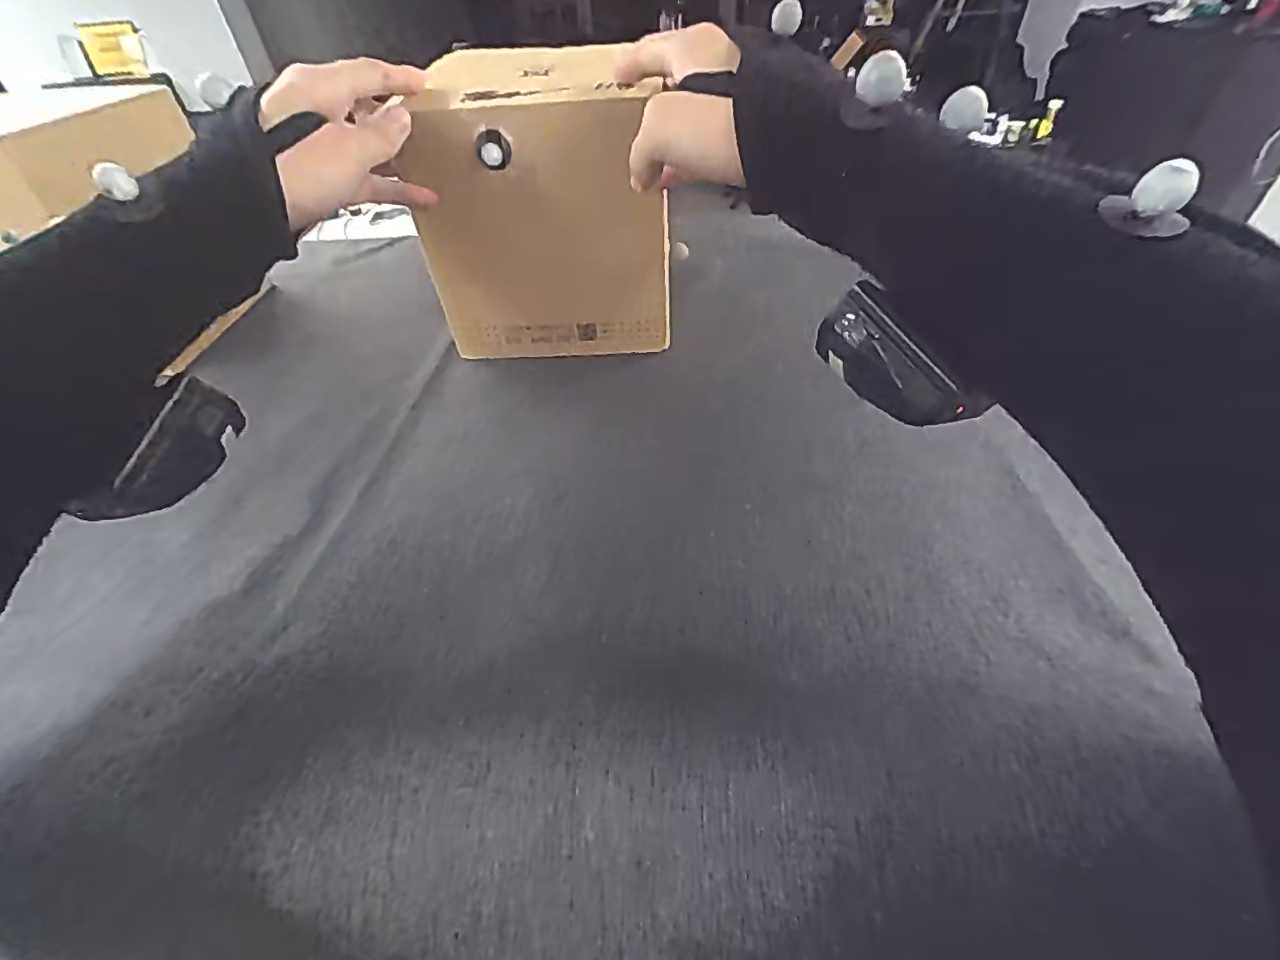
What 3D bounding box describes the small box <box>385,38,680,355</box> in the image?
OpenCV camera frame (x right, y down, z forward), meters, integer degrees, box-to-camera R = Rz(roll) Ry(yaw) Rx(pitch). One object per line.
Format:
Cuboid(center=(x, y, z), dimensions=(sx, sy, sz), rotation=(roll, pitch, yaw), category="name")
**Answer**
Cuboid(center=(-0.054, -0.212, 0.407), dimensions=(0.168, 0.176, 0.179), rotation=(-1, 45, 4), category="small box")
